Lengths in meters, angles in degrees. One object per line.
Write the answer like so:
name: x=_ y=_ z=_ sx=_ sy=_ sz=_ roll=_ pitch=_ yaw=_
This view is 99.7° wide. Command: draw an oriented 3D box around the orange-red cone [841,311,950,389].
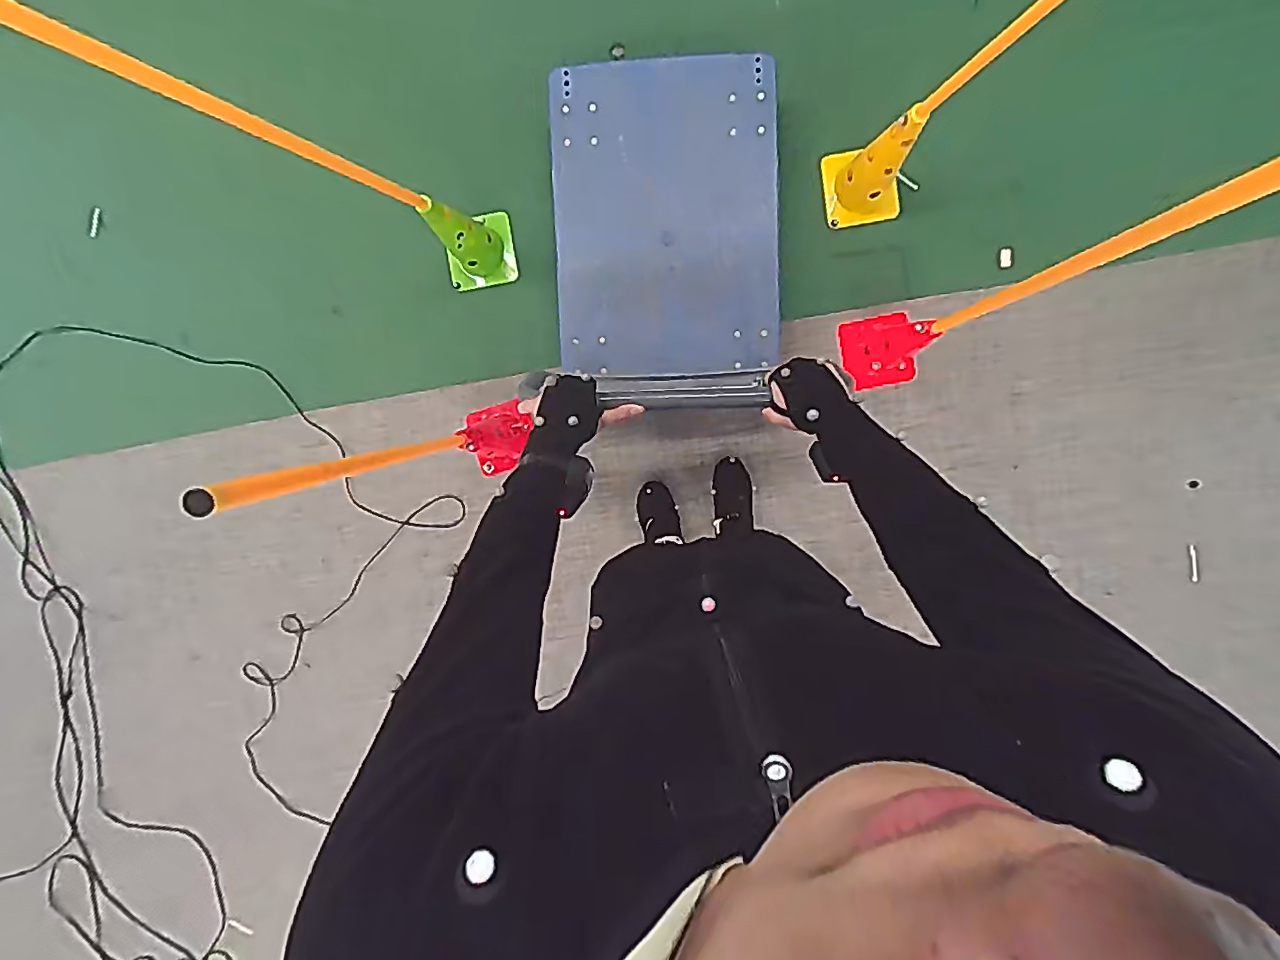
orange-red cone: x=0.665 y=-0.353 z=1.352 sx=0.198 sy=0.360 sz=0.199 roll=-9 pitch=93 yaw=3

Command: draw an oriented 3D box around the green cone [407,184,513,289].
green cone: x=-0.486 y=-0.651 z=1.387 sx=0.200 sy=0.368 sz=0.202 roll=-10 pitch=94 yaw=5
